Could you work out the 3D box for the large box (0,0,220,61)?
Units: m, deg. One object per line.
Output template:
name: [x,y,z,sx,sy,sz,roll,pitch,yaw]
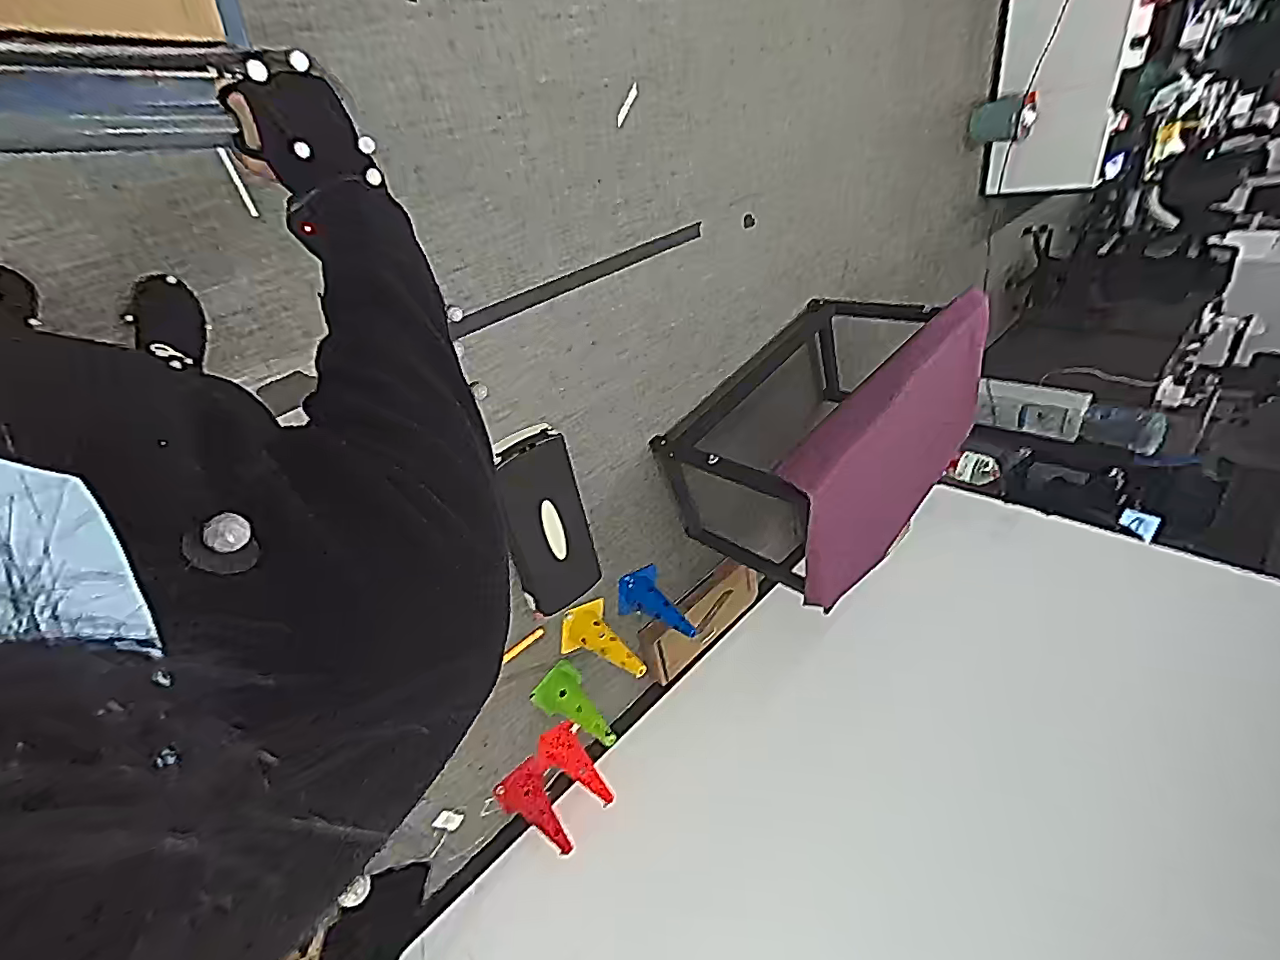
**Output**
large box: [-0.797,-0.684,0.611,0.408,0.320,0.320,-26,133,-33]
